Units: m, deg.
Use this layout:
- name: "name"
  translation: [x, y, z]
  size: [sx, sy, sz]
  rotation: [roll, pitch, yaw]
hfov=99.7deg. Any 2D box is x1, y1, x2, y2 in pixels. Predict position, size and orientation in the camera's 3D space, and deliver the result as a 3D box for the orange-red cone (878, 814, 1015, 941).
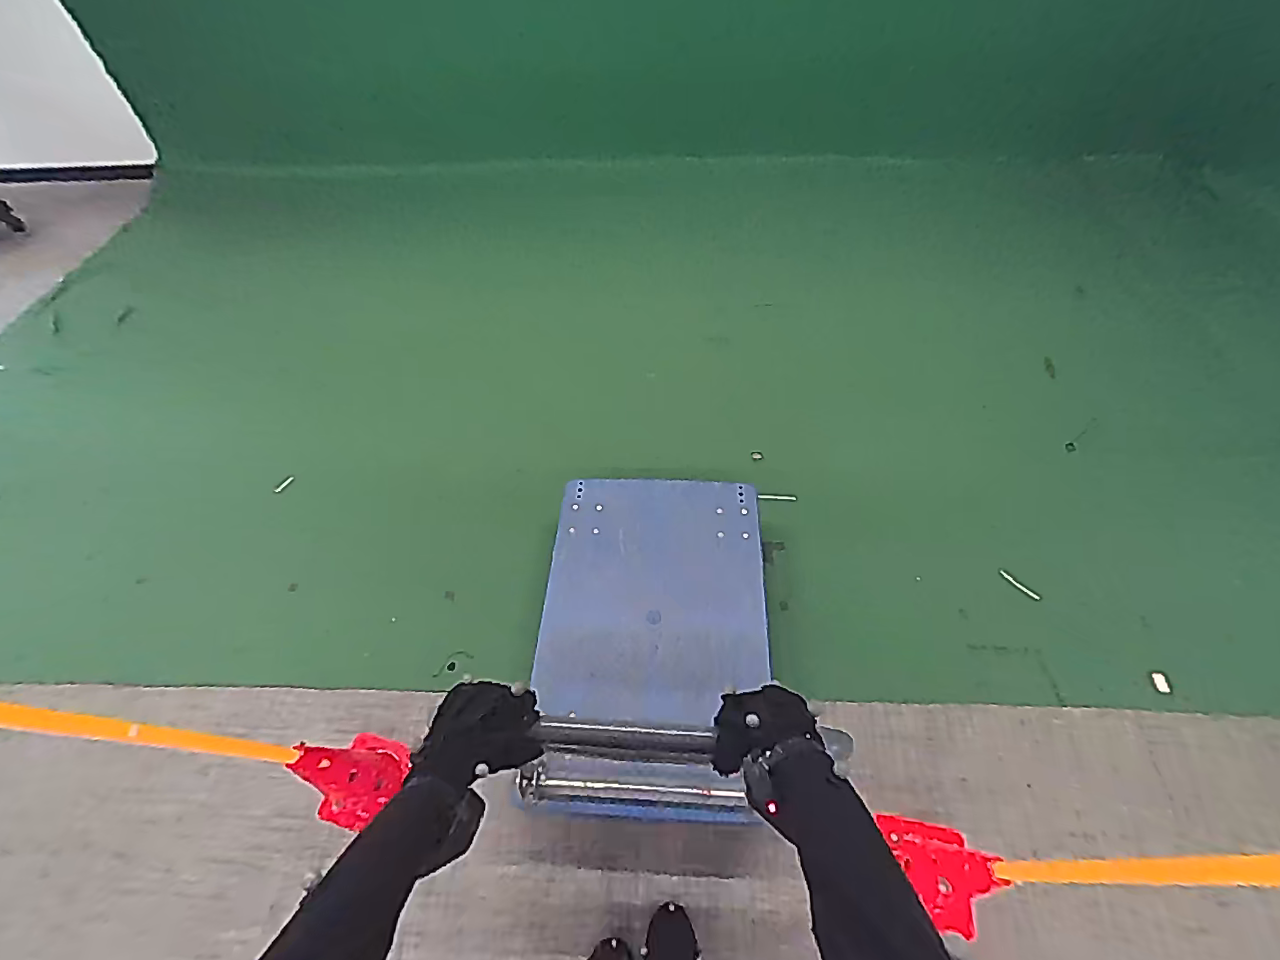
- name: "orange-red cone"
  translation: [0.615, 0.758, 1.042]
  size: [0.198, 0.360, 0.199]
  rotation: [9, 55, 10]
